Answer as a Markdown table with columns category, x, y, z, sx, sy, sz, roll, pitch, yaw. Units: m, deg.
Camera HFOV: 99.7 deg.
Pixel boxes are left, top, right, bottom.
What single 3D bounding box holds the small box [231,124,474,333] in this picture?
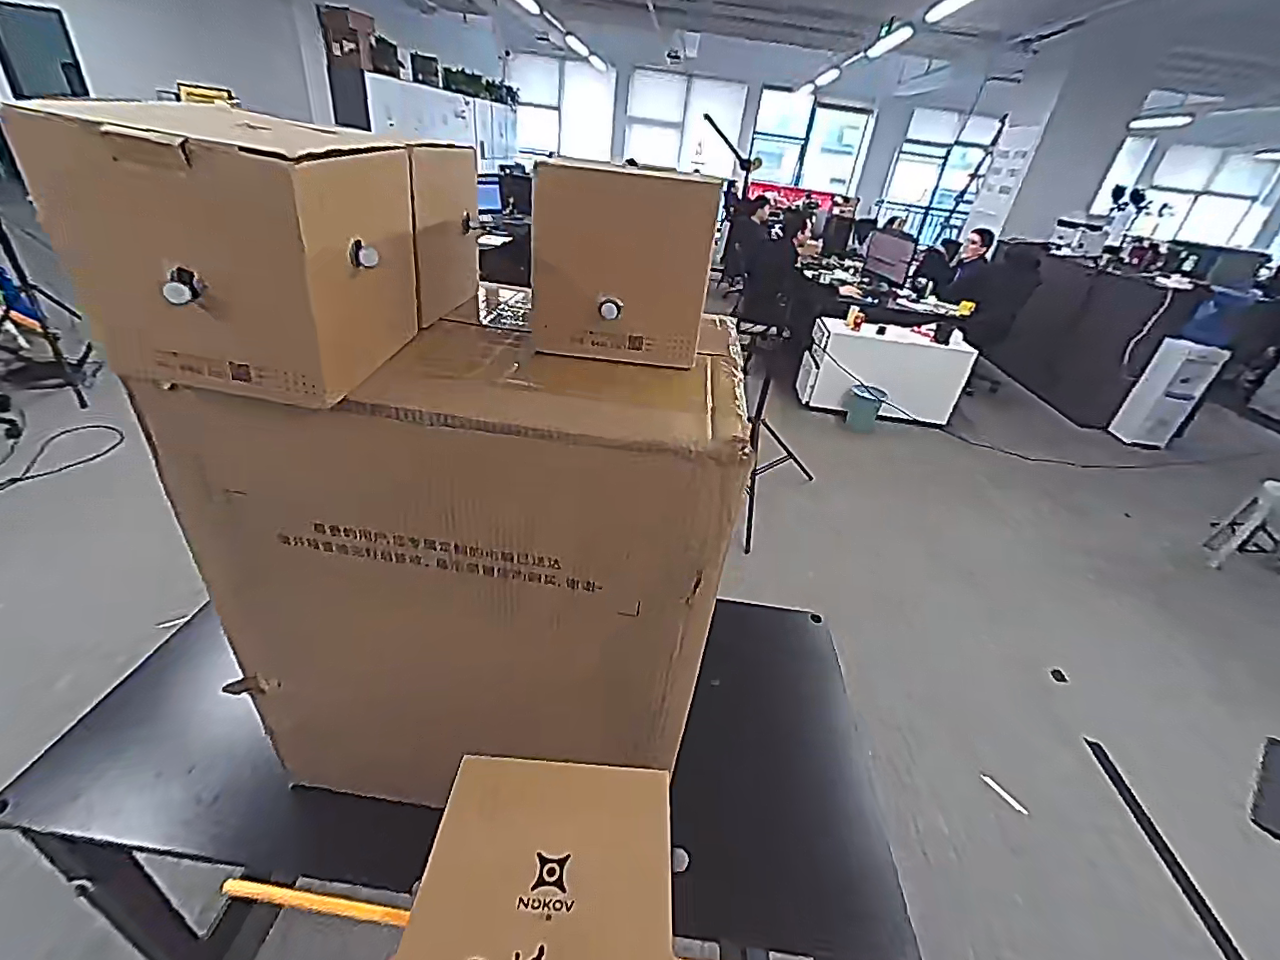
| category | x | y | z | sx | sy | sz | roll | pitch | yaw |
| --- | --- | --- | --- | --- | --- | --- | --- | --- | --- |
| small box | -0.289 | -0.274 | 0.591 | 0.168 | 0.176 | 0.179 | 7 | 31 | 0 |

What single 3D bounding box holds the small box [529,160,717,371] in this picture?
| category | x | y | z | sx | sy | sz | roll | pitch | yaw |
| --- | --- | --- | --- | --- | --- | --- | --- | --- | --- |
| small box | -0.018 | -0.229 | 0.569 | 0.168 | 0.176 | 0.179 | 5 | 31 | 0 |

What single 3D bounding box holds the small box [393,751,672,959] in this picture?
| category | x | y | z | sx | sy | sz | roll | pitch | yaw |
| --- | --- | --- | --- | --- | --- | --- | --- | --- | --- |
| small box | -0.067 | 0.334 | 0.395 | 0.168 | 0.176 | 0.179 | 4 | 29 | 0 |
